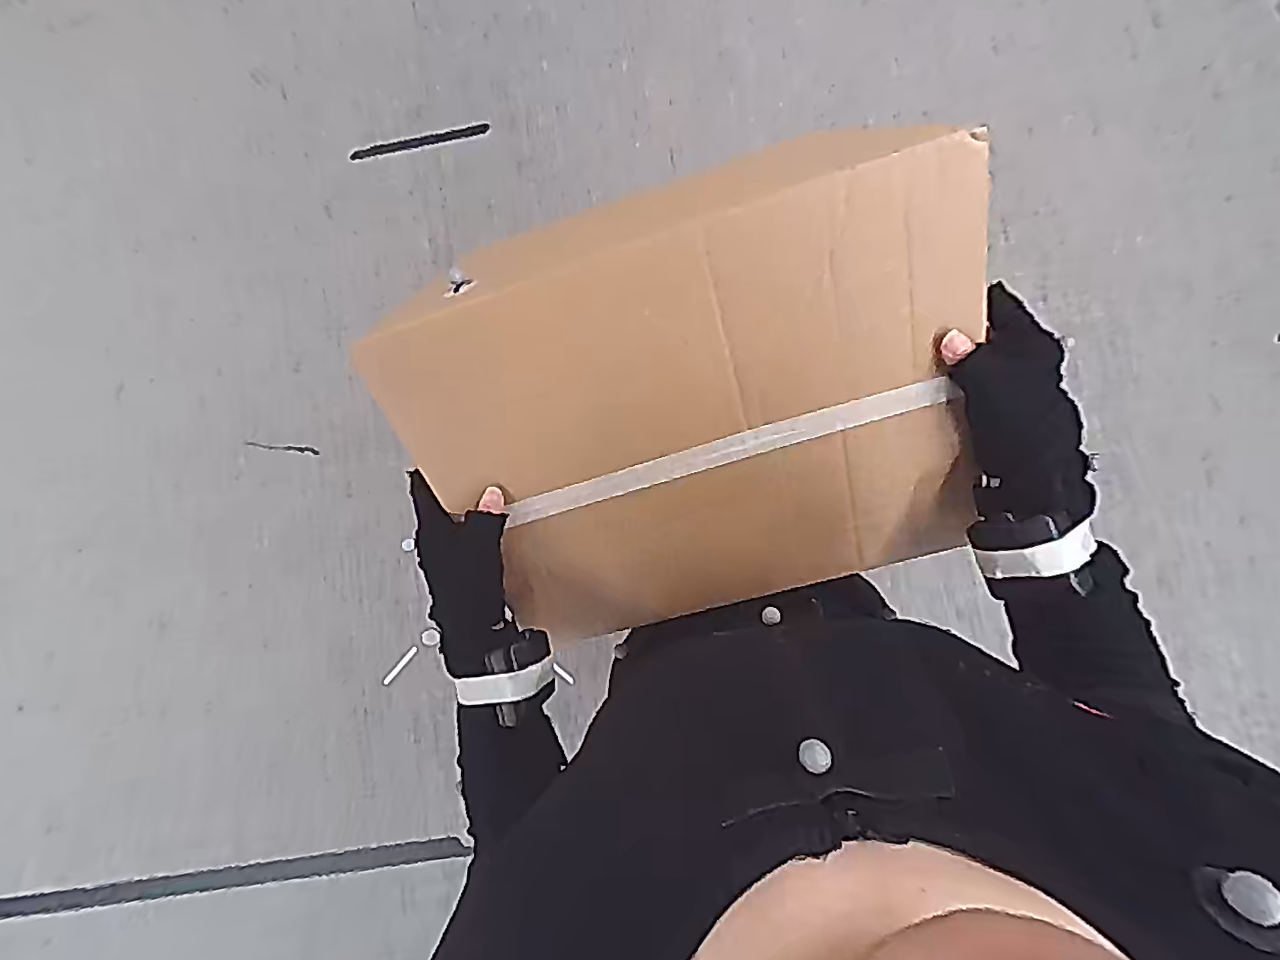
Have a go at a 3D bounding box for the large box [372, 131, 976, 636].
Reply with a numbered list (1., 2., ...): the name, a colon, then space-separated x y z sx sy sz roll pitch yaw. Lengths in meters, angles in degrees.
1. large box: 0.043 -0.103 0.540 0.408 0.320 0.320 -15 122 8
